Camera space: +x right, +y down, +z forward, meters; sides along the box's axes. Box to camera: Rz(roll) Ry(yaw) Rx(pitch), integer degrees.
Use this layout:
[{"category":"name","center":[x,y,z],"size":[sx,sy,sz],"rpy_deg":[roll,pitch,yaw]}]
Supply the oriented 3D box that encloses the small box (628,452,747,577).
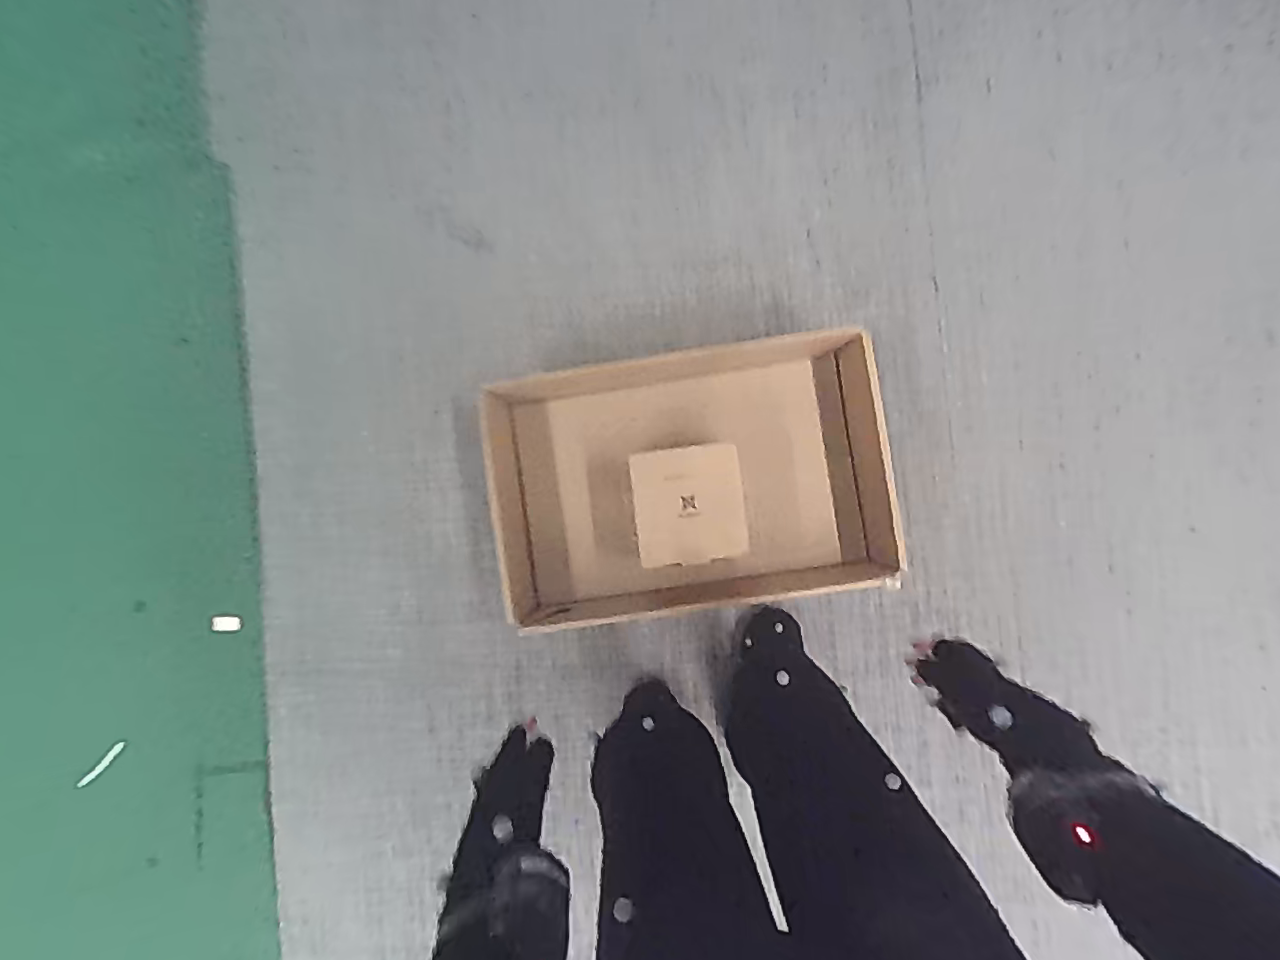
[{"category":"small box","center":[0.075,0.056,0.894],"size":[0.168,0.176,0.179],"rpy_deg":[-7,86,1]}]
